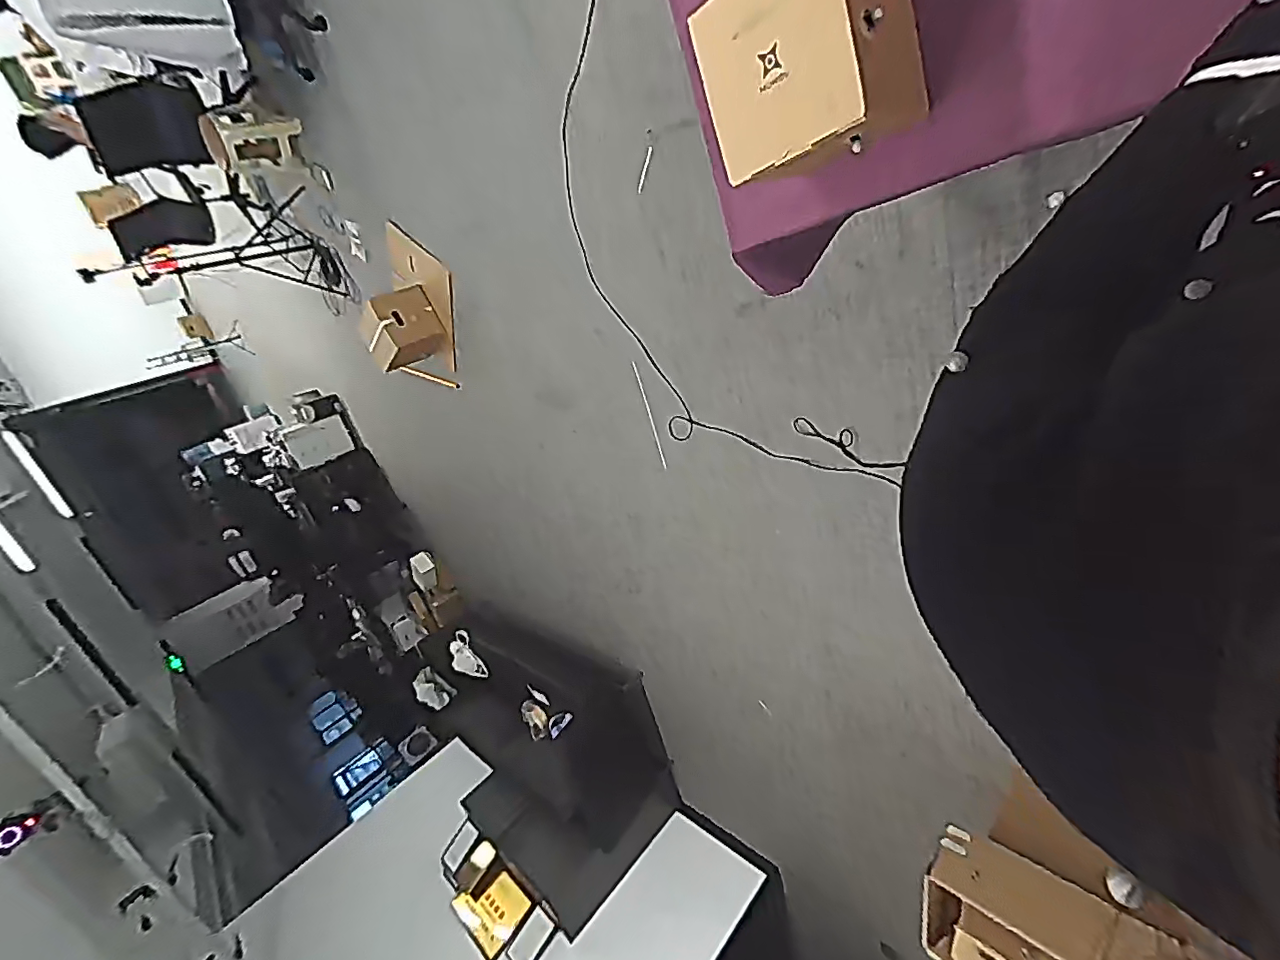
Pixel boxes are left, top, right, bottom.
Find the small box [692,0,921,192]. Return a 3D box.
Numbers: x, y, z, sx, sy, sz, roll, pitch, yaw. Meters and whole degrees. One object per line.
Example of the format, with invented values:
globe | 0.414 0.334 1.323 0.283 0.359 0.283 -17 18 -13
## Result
small box | 0.191 -0.450 0.601 0.168 0.176 0.179 1 115 47
